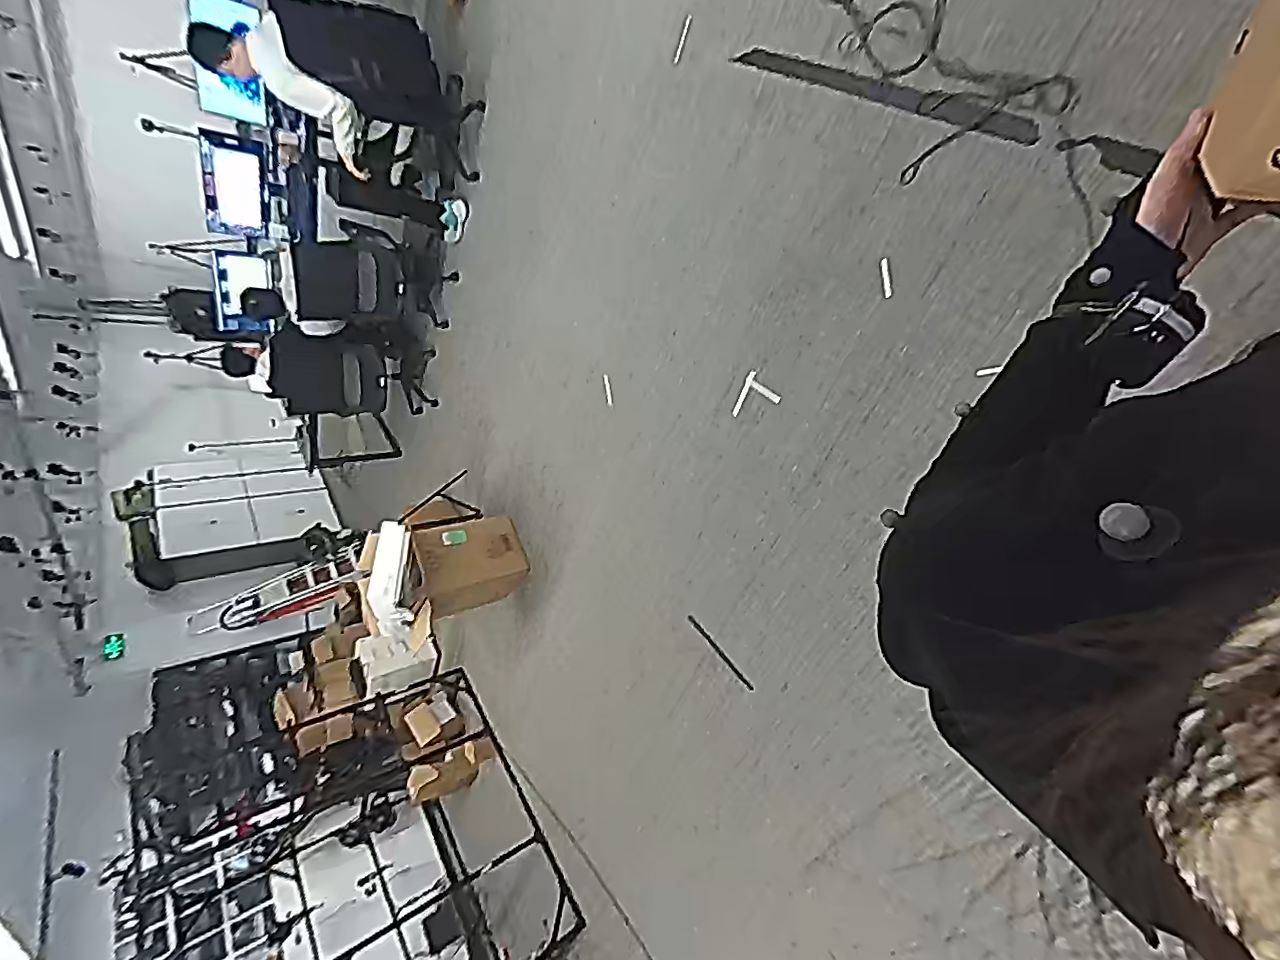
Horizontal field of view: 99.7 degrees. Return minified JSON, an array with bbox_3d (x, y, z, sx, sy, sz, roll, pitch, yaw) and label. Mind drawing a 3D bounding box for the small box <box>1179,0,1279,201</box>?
[{"bbox_3d":[0.428,-0.248,0.270,0.179,0.176,0.168,18,136,27],"label":"small box"}]
